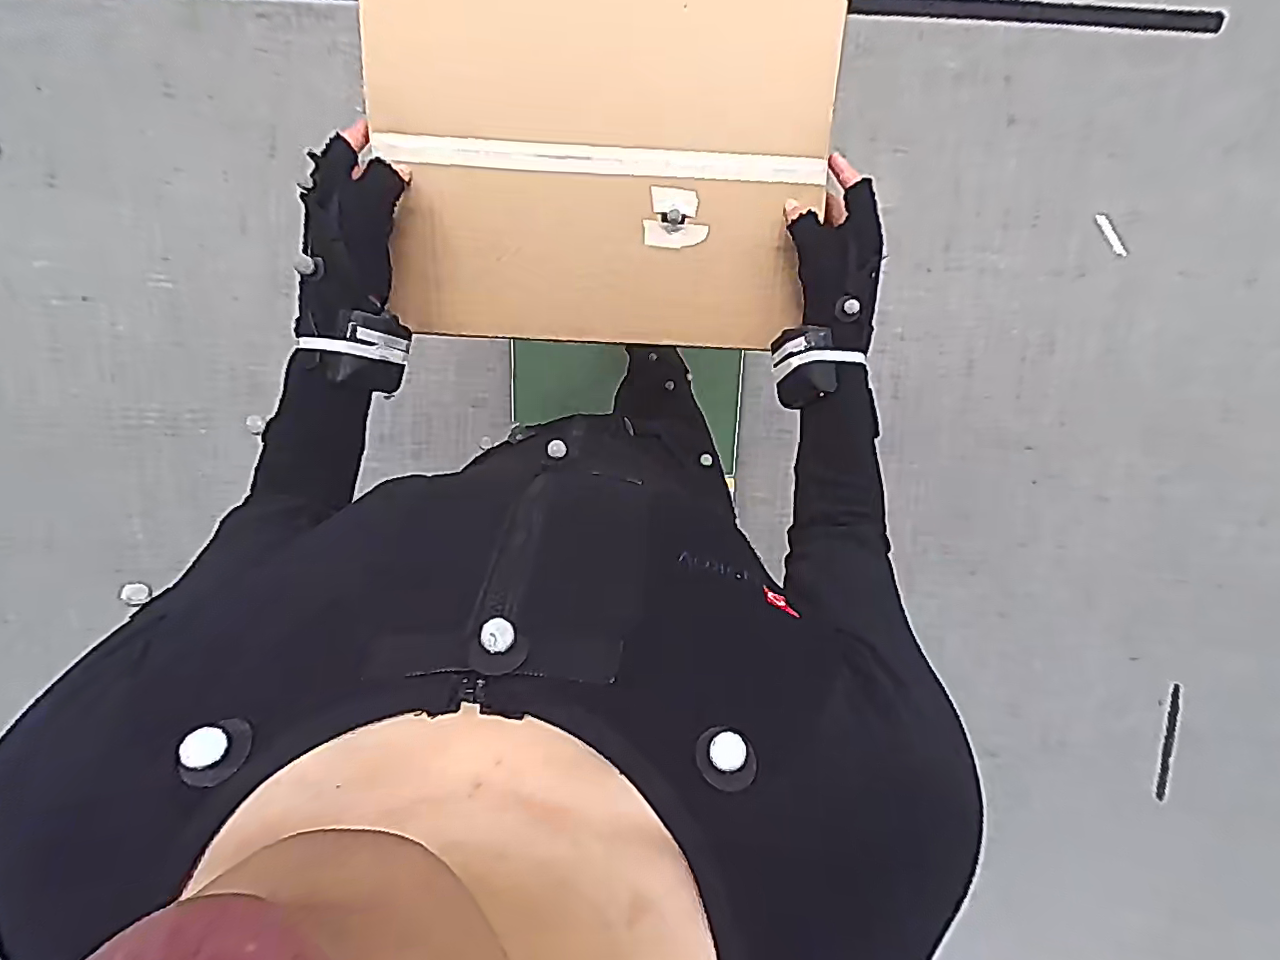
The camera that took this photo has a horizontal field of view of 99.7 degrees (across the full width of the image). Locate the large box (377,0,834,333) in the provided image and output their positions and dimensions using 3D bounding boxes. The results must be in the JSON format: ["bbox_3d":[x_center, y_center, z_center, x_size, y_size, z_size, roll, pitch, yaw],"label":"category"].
[{"bbox_3d":[-0.039,-0.340,0.642,0.408,0.320,0.320,2,106,-3],"label":"large box"}]
